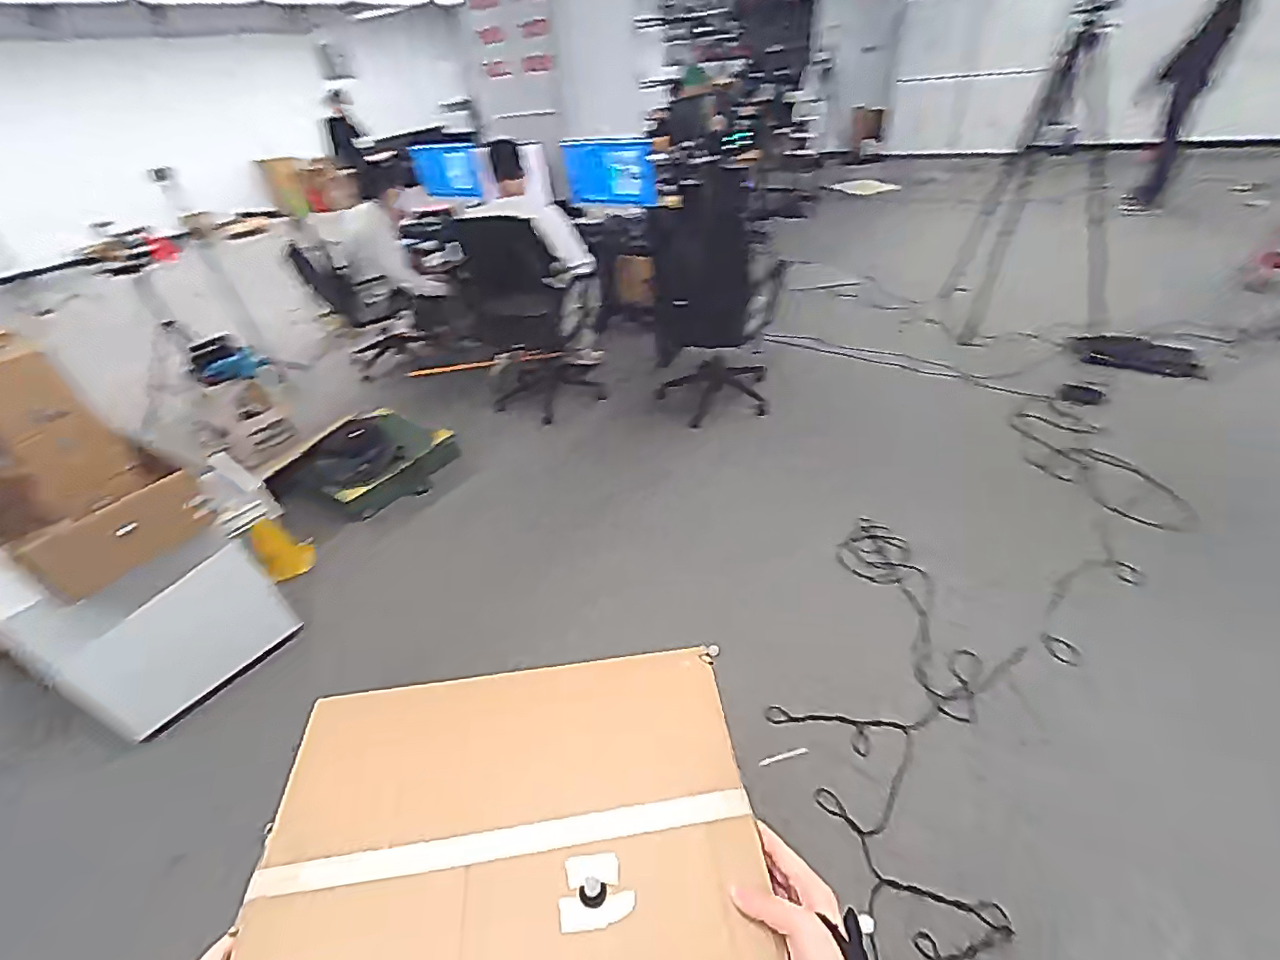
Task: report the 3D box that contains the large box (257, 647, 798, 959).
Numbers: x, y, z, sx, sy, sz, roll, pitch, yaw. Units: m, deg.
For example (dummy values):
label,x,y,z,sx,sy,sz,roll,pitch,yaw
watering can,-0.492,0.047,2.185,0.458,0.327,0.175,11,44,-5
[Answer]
label,x,y,z,sx,sy,sz,roll,pitch,yaw
large box,-0.095,0.414,0.560,0.408,0.320,0.320,-5,41,-5
